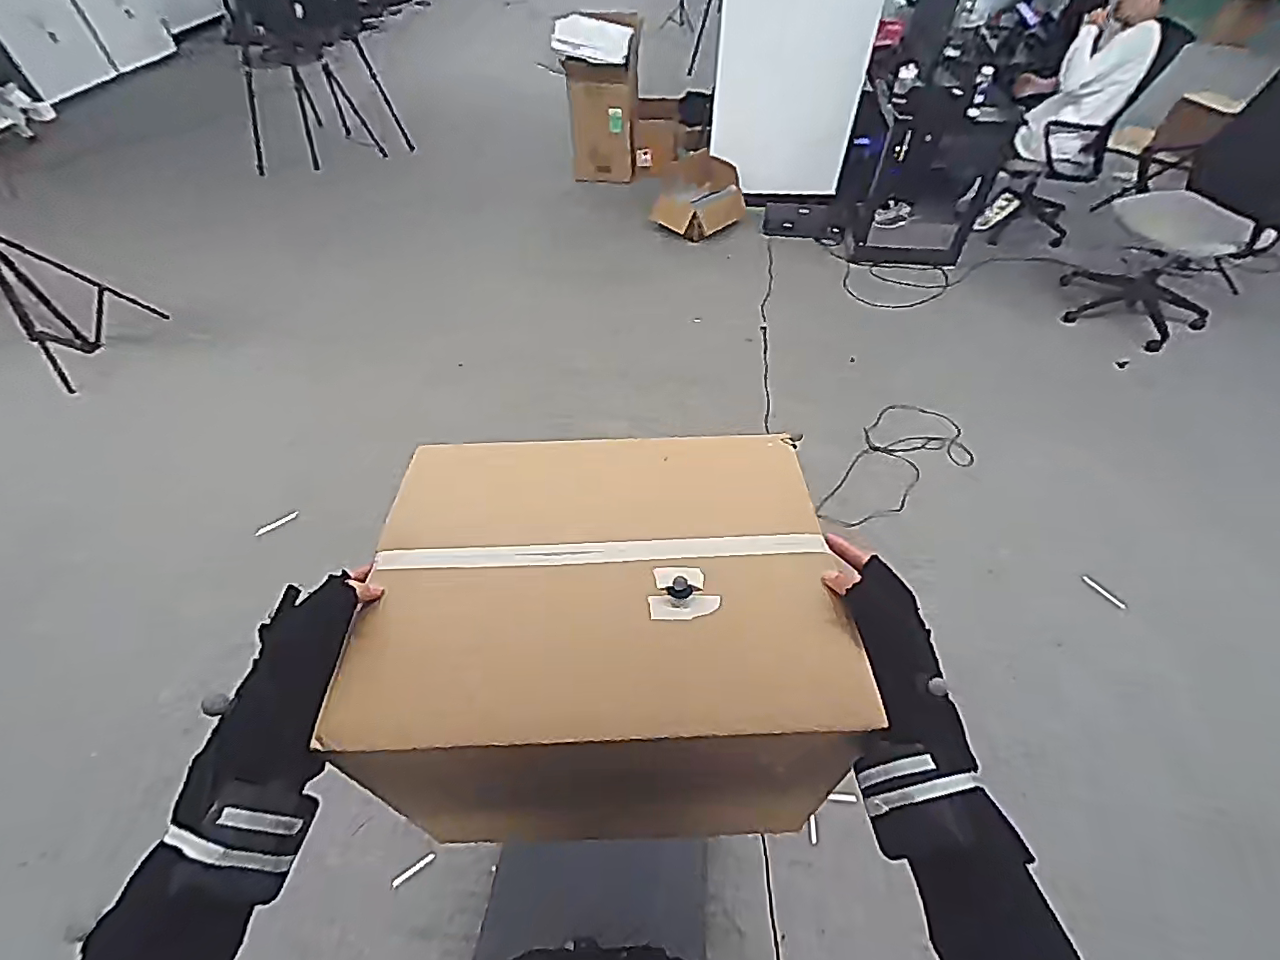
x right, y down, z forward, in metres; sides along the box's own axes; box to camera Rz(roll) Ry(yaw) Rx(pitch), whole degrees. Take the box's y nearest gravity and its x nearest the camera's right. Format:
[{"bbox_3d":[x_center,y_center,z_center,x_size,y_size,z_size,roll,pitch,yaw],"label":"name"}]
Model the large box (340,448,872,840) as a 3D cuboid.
[{"bbox_3d":[-0.028,0.182,0.606,0.408,0.320,0.320,-1,46,-1],"label":"large box"}]
